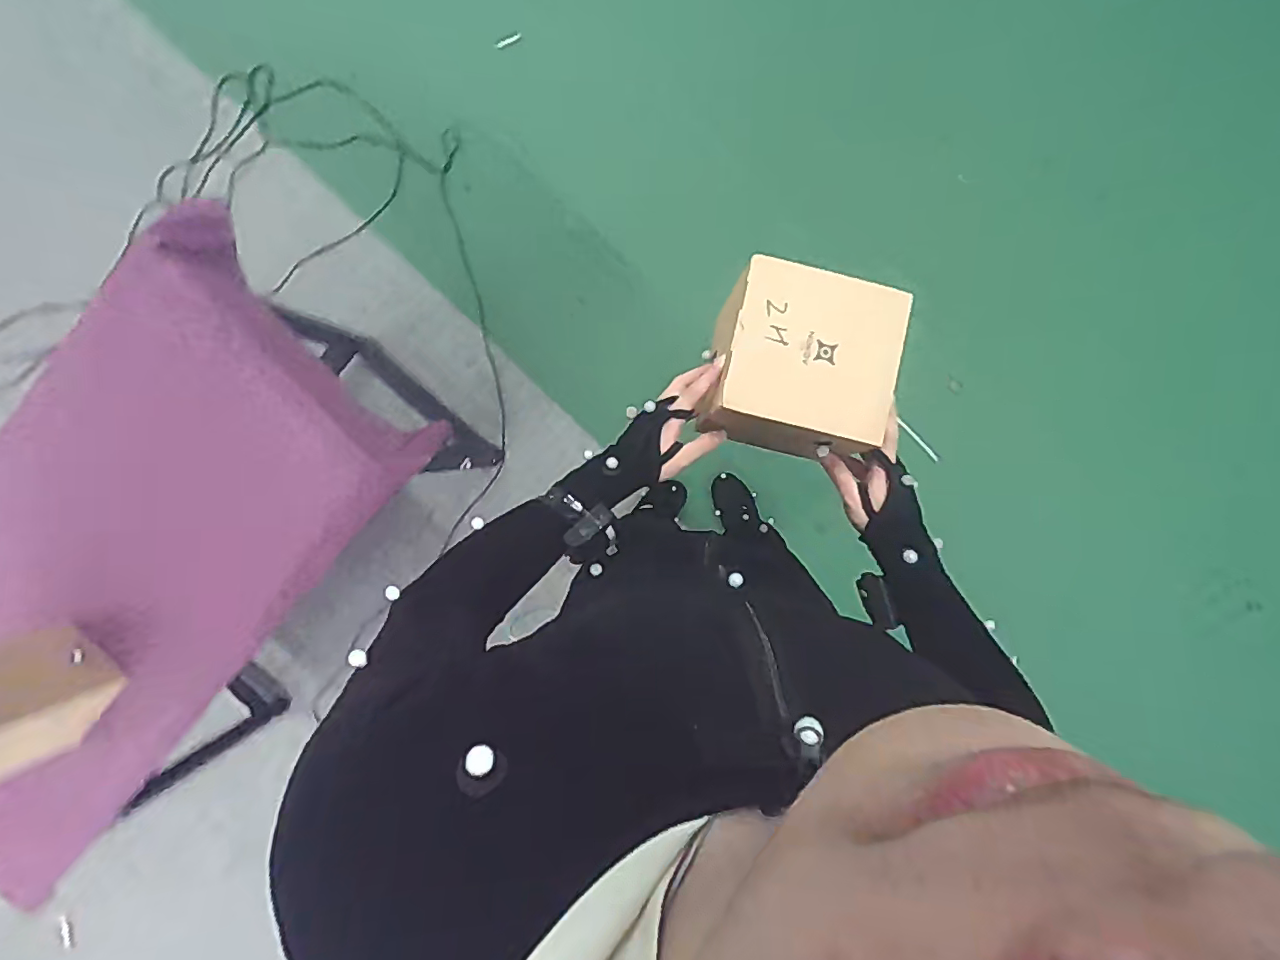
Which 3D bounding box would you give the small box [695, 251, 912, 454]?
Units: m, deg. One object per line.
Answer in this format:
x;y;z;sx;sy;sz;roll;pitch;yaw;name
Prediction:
0.174;-0.130;0.625;0.179;0.176;0.168;13;86;-2;small box

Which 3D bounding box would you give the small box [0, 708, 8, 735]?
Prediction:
-1.117;0.384;0.795;0.168;0.176;0.179;43;96;3;small box
